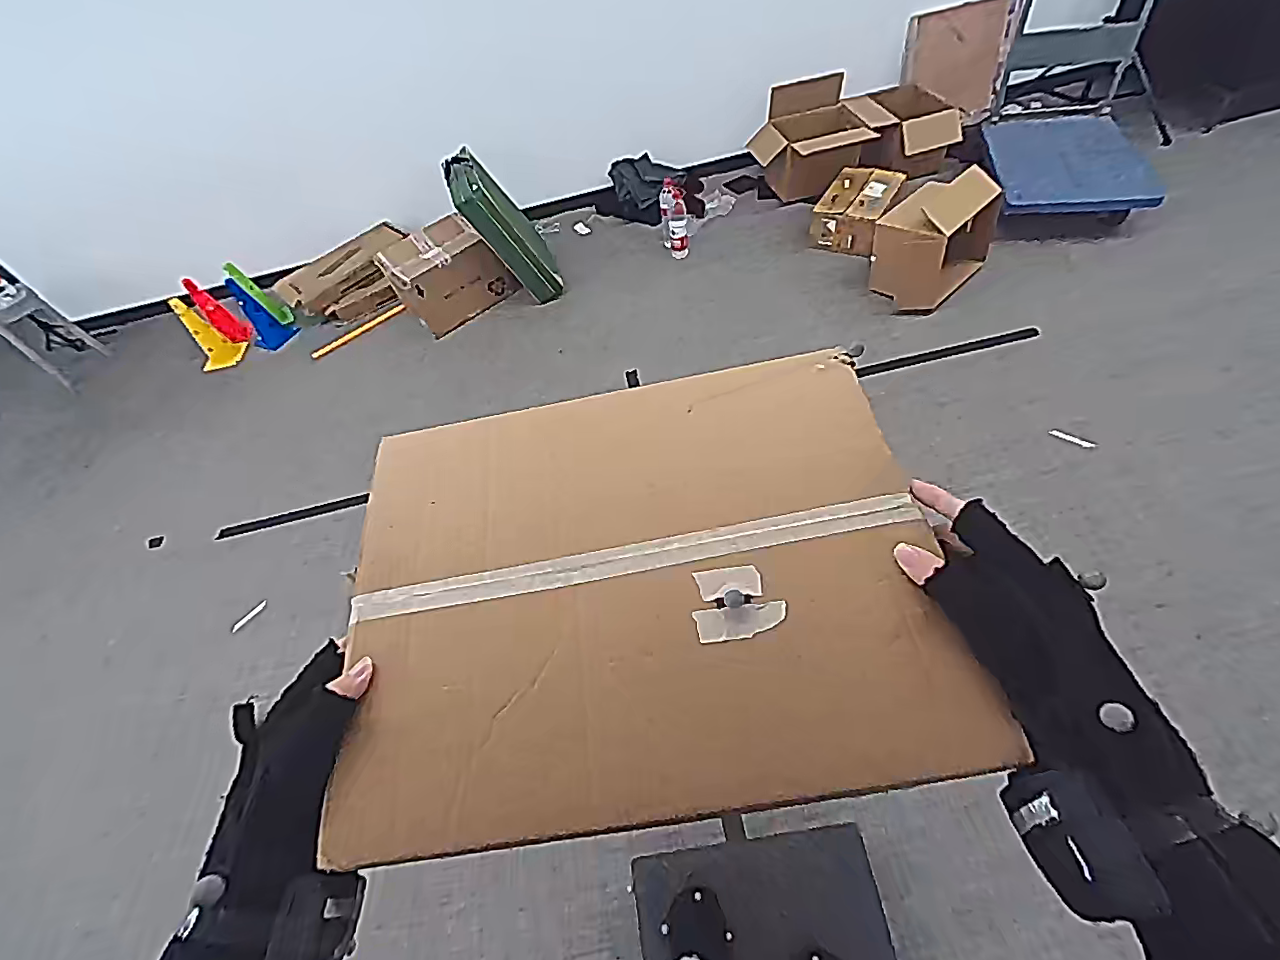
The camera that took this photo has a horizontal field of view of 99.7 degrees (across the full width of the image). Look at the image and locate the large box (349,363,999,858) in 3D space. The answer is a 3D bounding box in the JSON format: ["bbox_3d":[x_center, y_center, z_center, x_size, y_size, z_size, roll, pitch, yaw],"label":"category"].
[{"bbox_3d":[0.015,0.139,0.523,0.408,0.320,0.320,-11,59,3],"label":"large box"}]
